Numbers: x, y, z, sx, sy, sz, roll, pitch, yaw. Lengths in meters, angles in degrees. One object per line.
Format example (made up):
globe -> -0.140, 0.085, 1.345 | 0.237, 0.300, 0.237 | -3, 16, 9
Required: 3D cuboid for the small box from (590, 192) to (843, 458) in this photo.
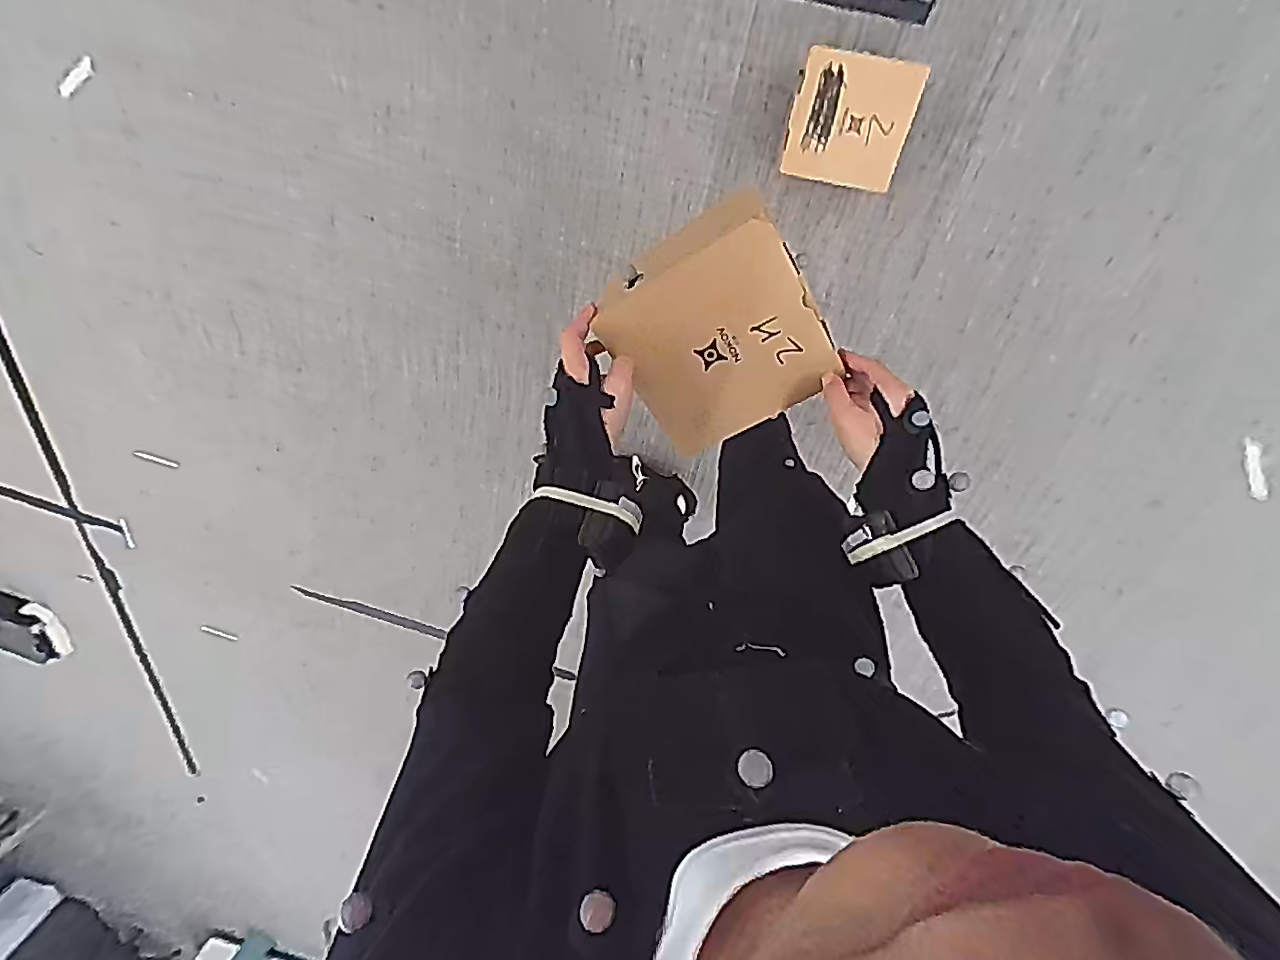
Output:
small box -> 0.077, -0.158, 0.546 | 0.179, 0.176, 0.168 | -26, 119, 22
